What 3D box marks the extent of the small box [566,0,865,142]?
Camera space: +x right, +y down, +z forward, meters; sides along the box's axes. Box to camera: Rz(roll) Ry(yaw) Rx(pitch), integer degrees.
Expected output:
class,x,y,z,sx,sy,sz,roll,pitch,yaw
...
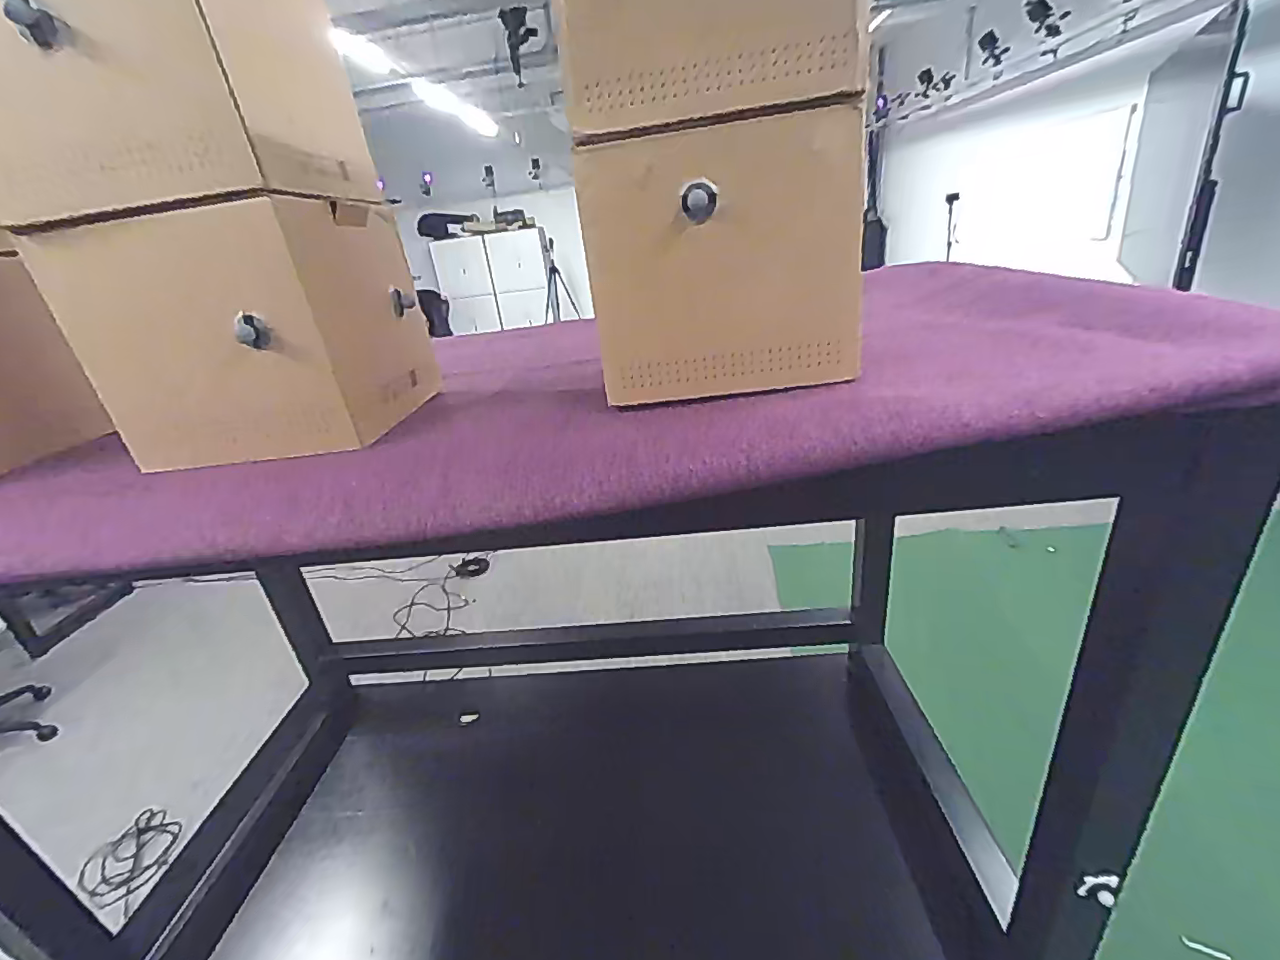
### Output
class,x,y,z,sx,sy,sz,roll,pitch,yaw
small box,0.045,-0.320,0.372,0.179,0.176,0.168,-5,22,7

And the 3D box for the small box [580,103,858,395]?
class,x,y,z,sx,sy,sz,roll,pitch,yaw
small box,0.062,-0.168,0.433,0.179,0.176,0.168,-4,21,6

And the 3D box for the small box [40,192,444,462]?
class,x,y,z,sx,sy,sz,roll,pitch,yaw
small box,-0.284,-0.125,0.440,0.179,0.176,0.168,-6,23,4
